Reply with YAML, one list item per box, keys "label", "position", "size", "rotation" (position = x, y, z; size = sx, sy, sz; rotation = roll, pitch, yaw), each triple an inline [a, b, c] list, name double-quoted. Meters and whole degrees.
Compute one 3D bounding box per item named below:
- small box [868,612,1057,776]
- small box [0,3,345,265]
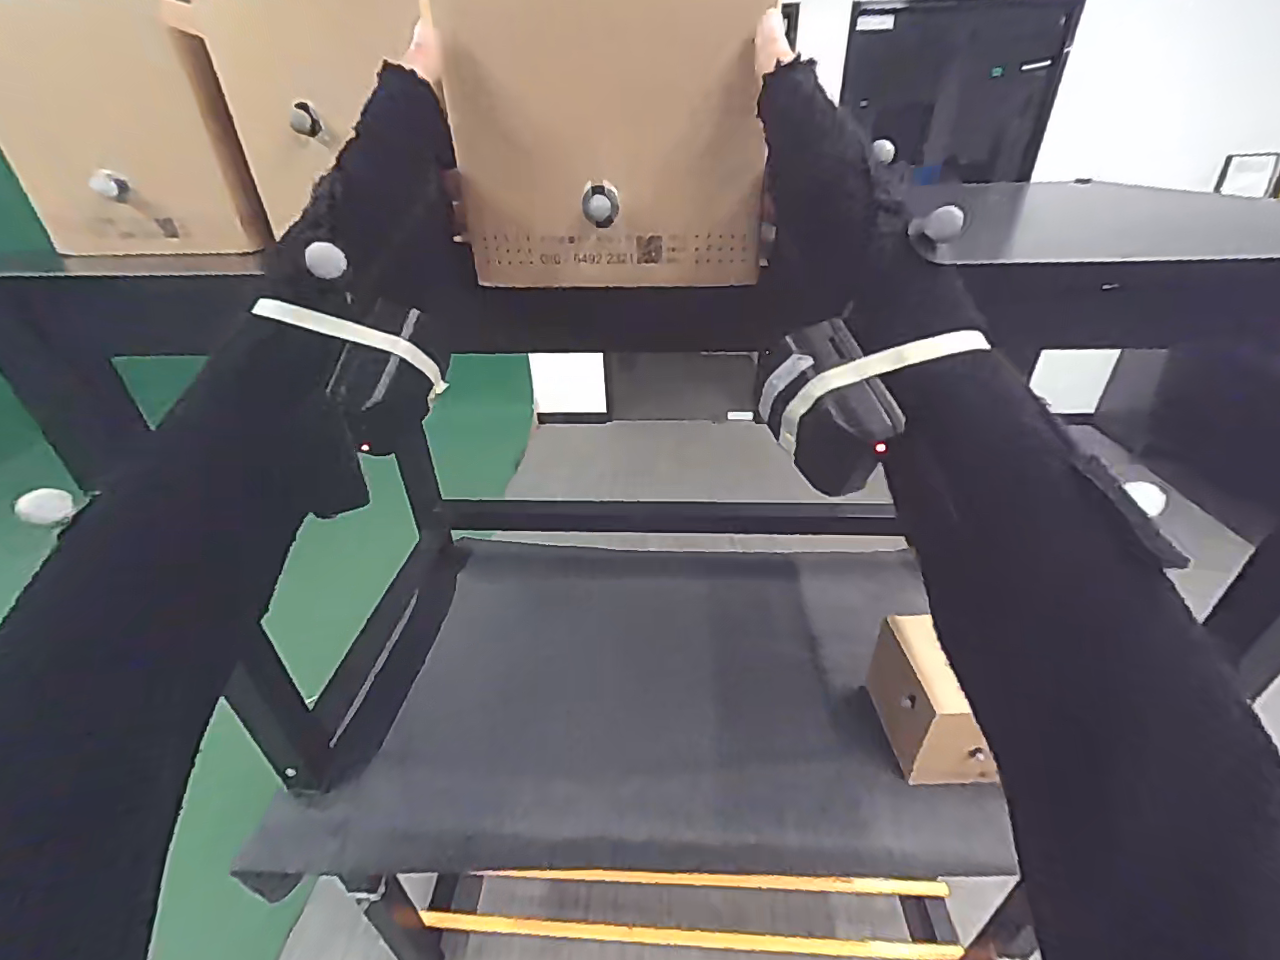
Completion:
- label: "small box"
  position: [0.469, 0.324, 0.820]
  size: [0.168, 0.176, 0.179]
  rotation: [-1, 31, 0]
- label: "small box"
  position: [-0.393, -0.298, 0.481]
  size: [0.168, 0.176, 0.179]
  rotation: [0, 33, 2]
